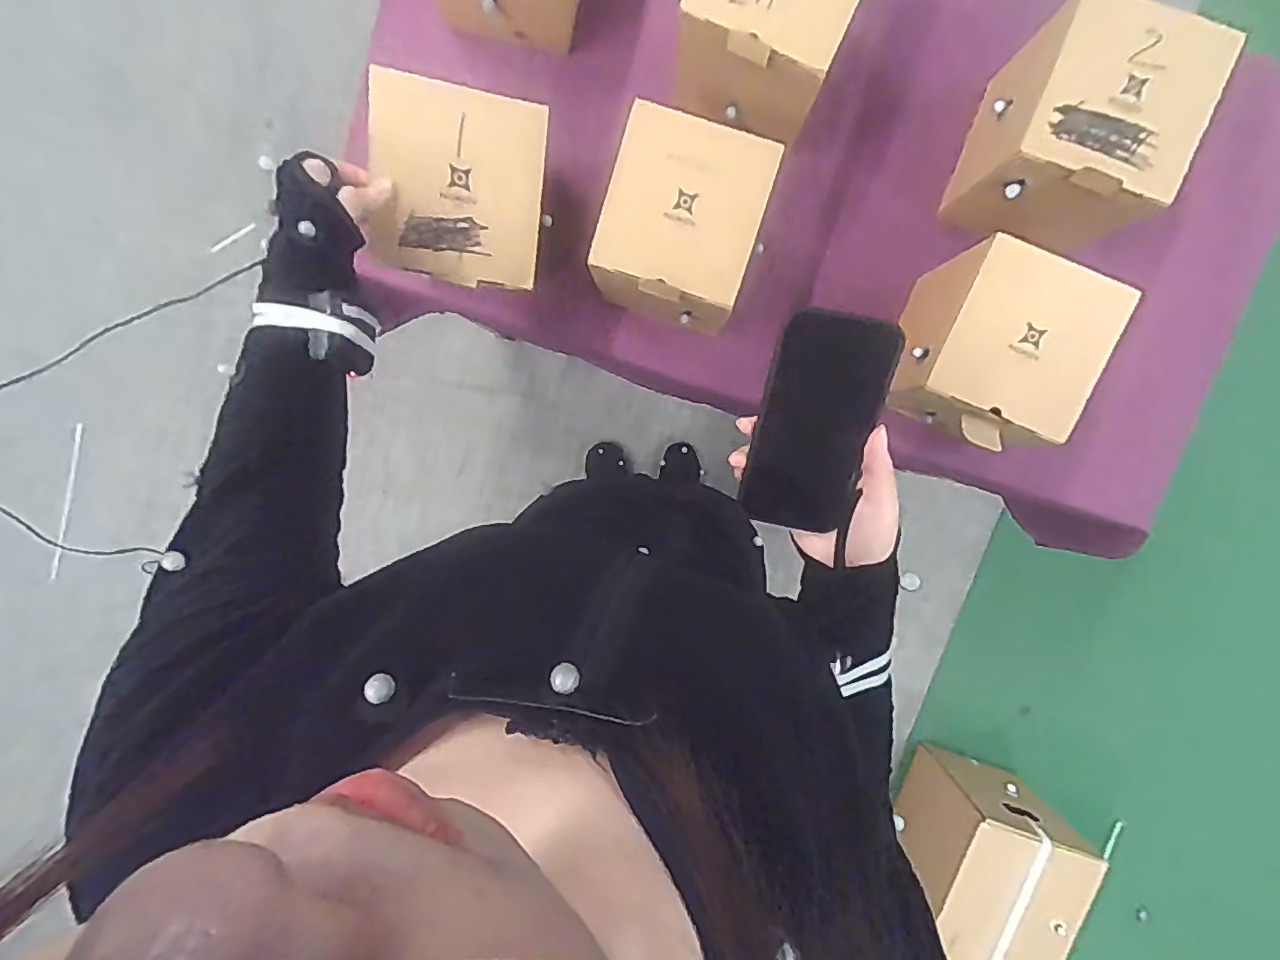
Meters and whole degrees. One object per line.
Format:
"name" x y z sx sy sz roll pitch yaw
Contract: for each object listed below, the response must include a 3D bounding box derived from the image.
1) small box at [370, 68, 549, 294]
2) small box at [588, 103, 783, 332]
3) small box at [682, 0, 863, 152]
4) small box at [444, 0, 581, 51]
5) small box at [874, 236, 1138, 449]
"small box" -0.197 -0.320 0.614 0.168 0.176 0.179 5 111 -14
"small box" 0.050 -0.293 0.648 0.168 0.176 0.179 18 96 0
"small box" 0.153 -0.526 0.617 0.168 0.176 0.179 25 97 0
"small box" -0.152 -0.646 0.617 0.168 0.176 0.179 14 97 0
"small box" 0.413 -0.151 0.647 0.168 0.176 0.179 23 97 0
